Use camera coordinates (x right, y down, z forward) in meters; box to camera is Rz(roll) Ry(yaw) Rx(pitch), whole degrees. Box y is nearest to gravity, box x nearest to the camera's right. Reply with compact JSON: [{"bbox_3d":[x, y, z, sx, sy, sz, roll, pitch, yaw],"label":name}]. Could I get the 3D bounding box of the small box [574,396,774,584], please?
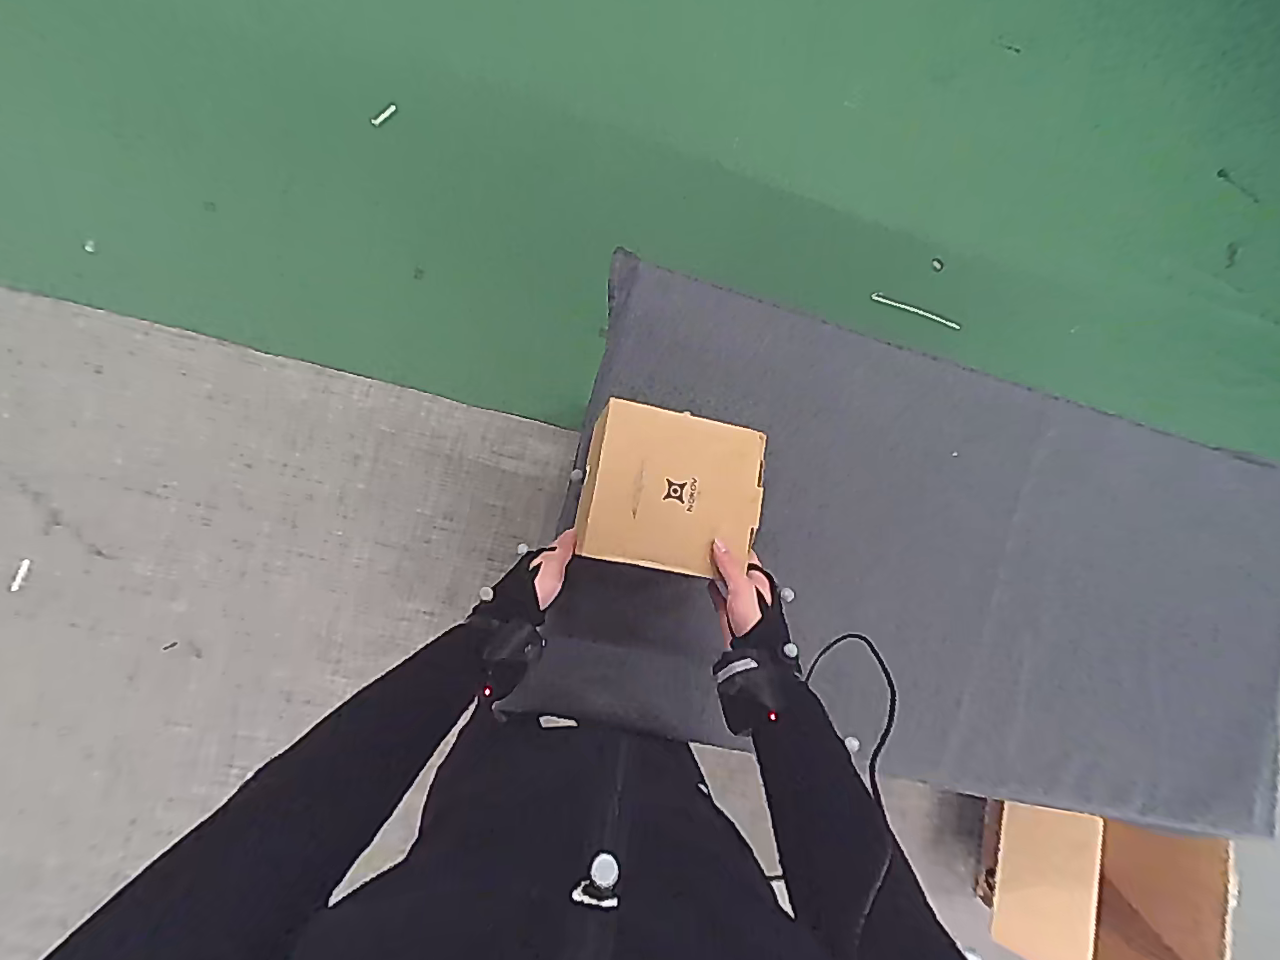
[{"bbox_3d":[0.029,0.018,0.618,0.179,0.176,0.168,11,82,-10],"label":"small box"}]
